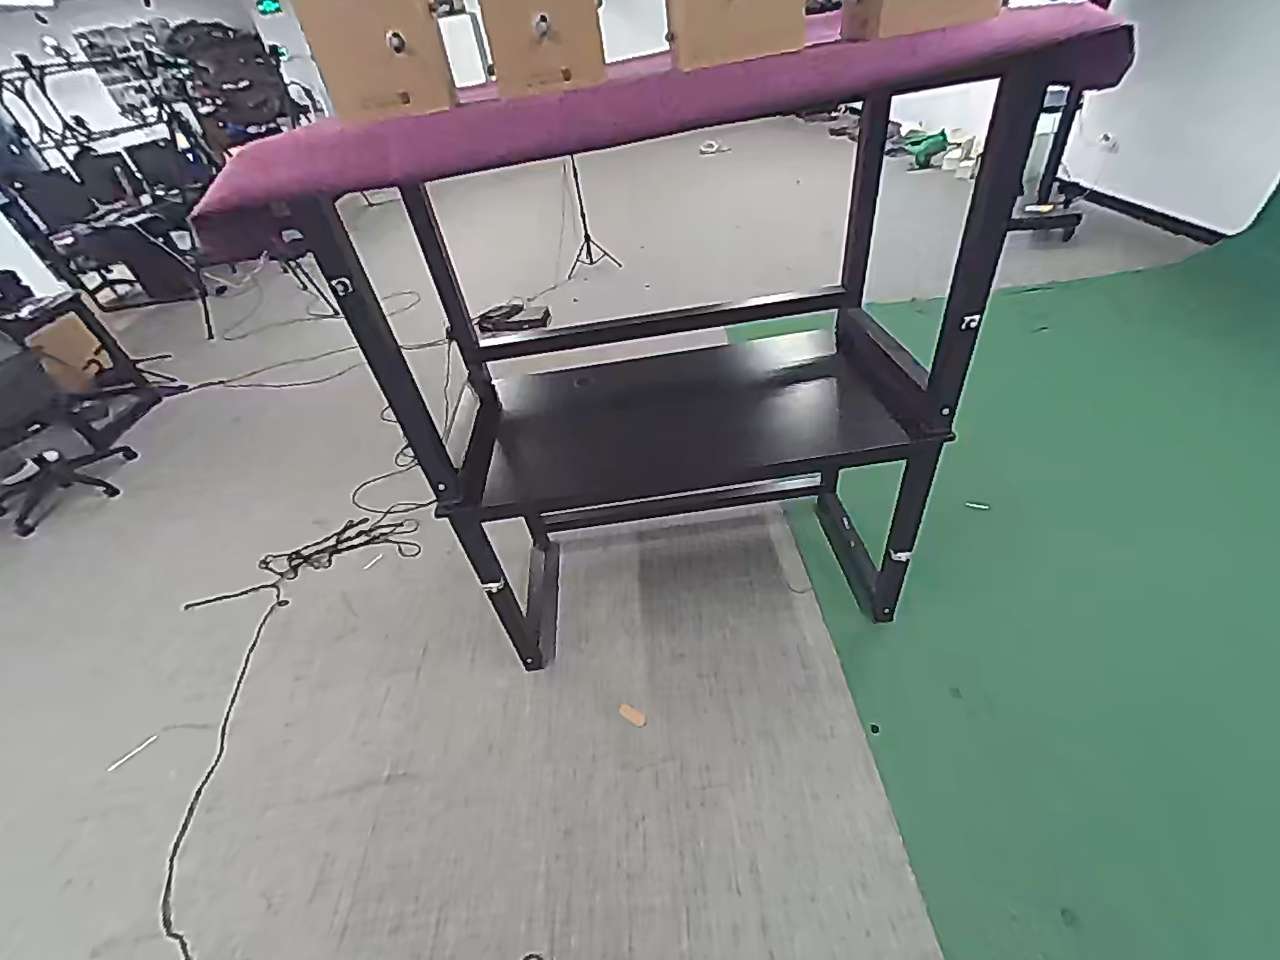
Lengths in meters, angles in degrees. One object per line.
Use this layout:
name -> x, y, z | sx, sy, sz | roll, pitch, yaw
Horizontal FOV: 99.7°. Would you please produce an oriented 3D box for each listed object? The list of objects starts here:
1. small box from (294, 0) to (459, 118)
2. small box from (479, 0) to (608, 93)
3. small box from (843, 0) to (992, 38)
small box -> -0.384, -0.660, 0.816 | 0.168, 0.176, 0.179 | -11, 39, -4
small box -> -0.147, -0.702, 0.819 | 0.168, 0.176, 0.179 | -10, 40, -2
small box -> 0.411, -0.765, 0.781 | 0.179, 0.176, 0.168 | -9, 40, 3
